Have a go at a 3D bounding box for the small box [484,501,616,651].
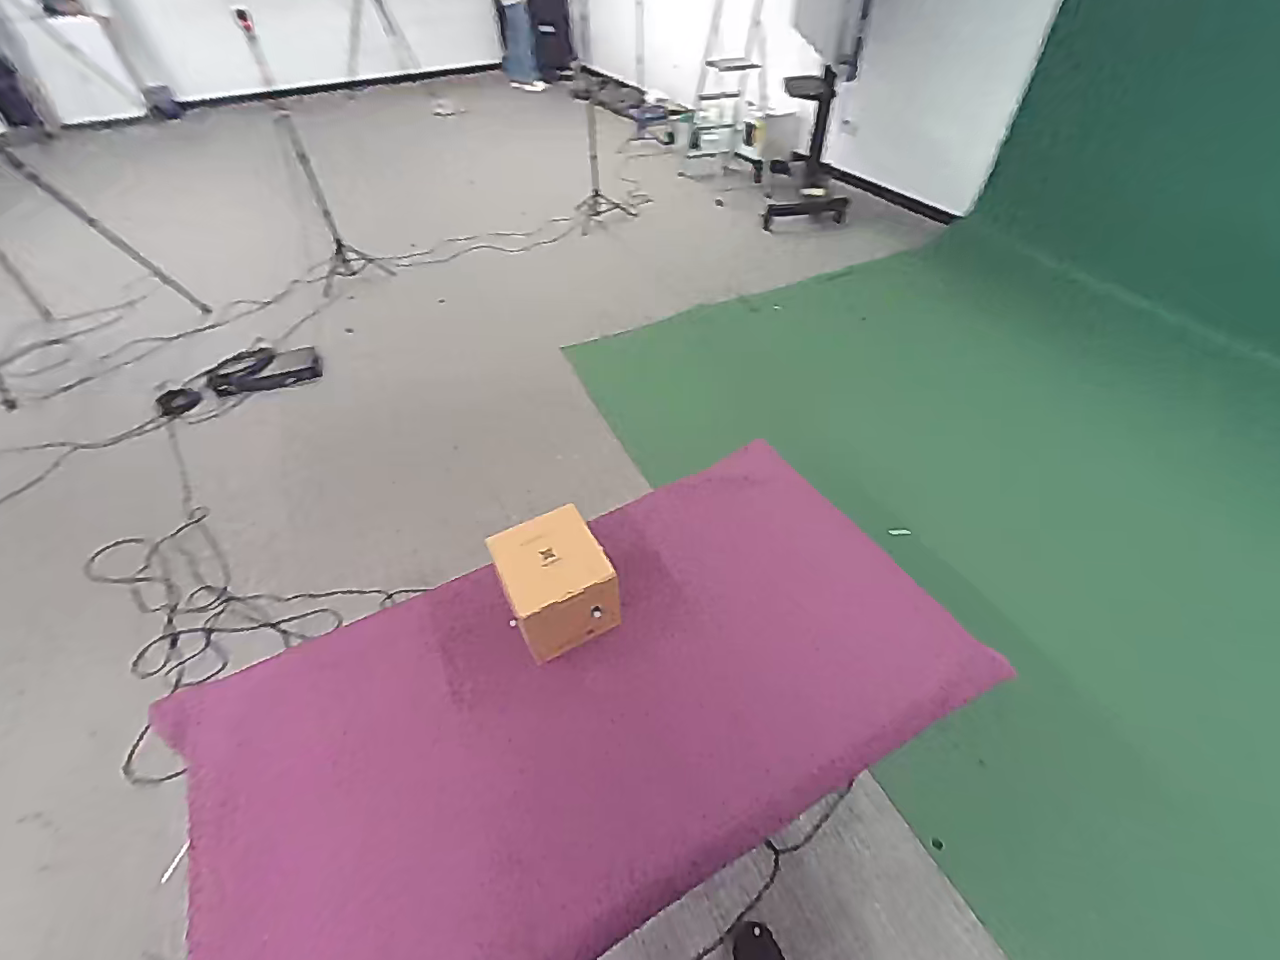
[{"bbox_3d":[-0.152,0.176,0.953,0.168,0.176,0.179,-23,50,-19],"label":"small box"}]
